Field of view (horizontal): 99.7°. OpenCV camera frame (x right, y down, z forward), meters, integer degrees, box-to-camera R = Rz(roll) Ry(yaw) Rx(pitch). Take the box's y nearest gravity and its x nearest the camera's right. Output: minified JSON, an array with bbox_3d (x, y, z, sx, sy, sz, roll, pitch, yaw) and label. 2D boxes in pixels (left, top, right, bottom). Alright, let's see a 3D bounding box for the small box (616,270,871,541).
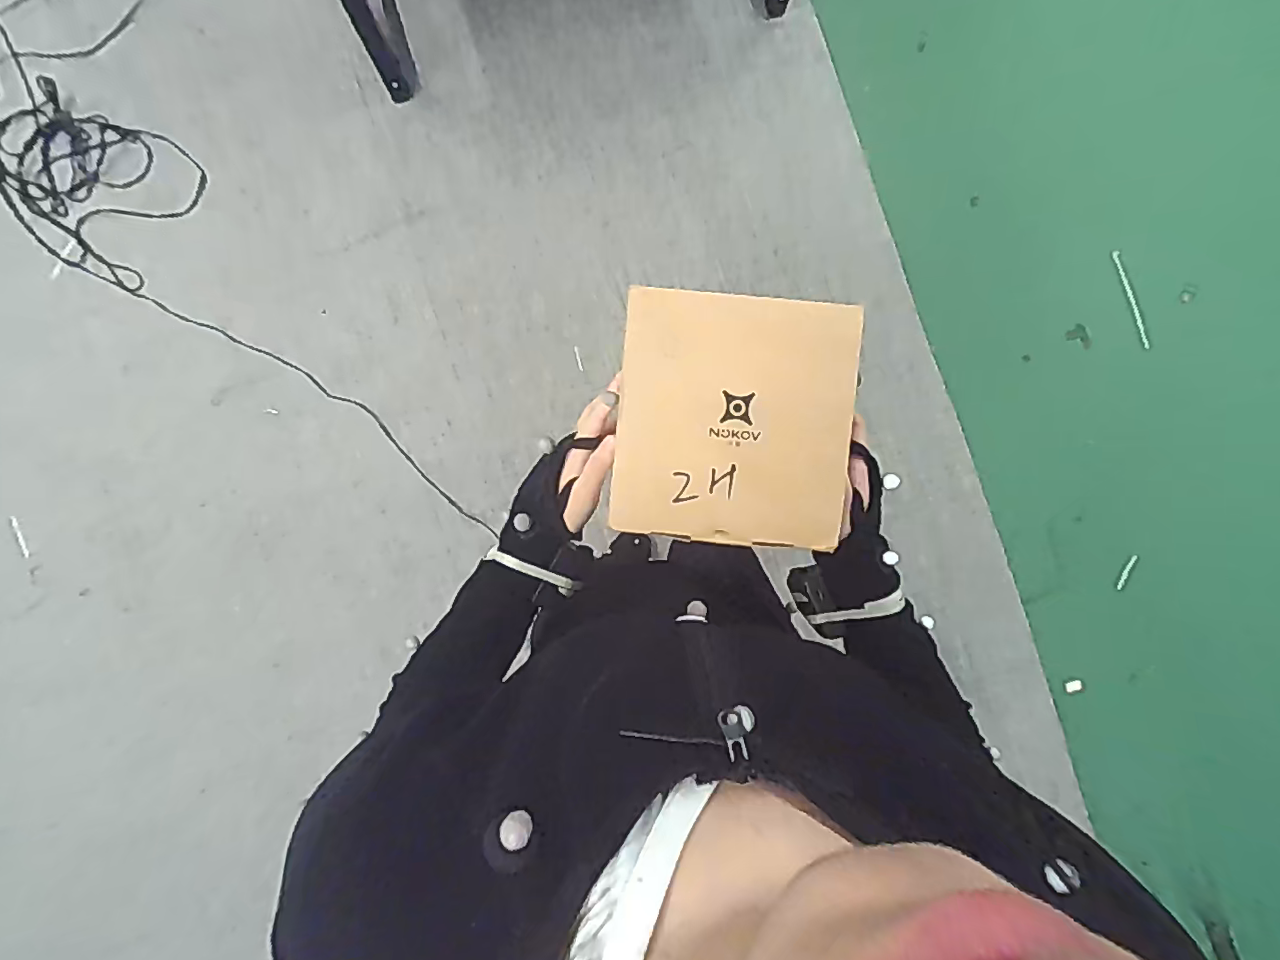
[{"bbox_3d":[0.072,-0.053,0.455,0.168,0.176,0.179,6,92,1],"label":"small box"}]
